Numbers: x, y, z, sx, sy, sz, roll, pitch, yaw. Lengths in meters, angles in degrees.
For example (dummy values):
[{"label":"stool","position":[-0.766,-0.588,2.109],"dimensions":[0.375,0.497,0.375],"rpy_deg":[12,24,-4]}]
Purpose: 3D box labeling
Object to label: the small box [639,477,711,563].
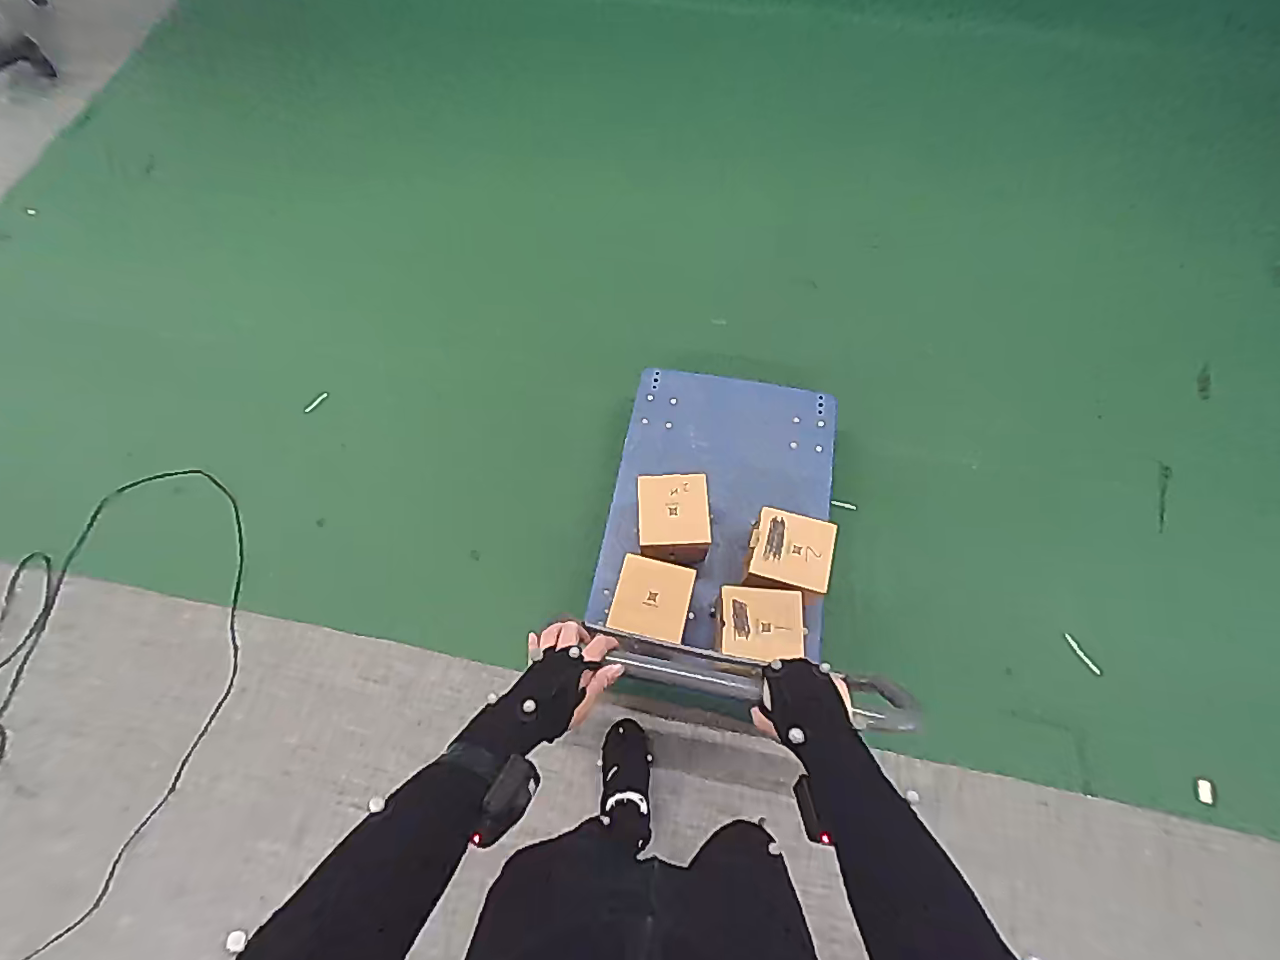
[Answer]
[{"label":"small box","position":[0.083,0.105,1.333],"dimensions":[0.168,0.176,0.179],"rpy_deg":[-1,67,0]}]
